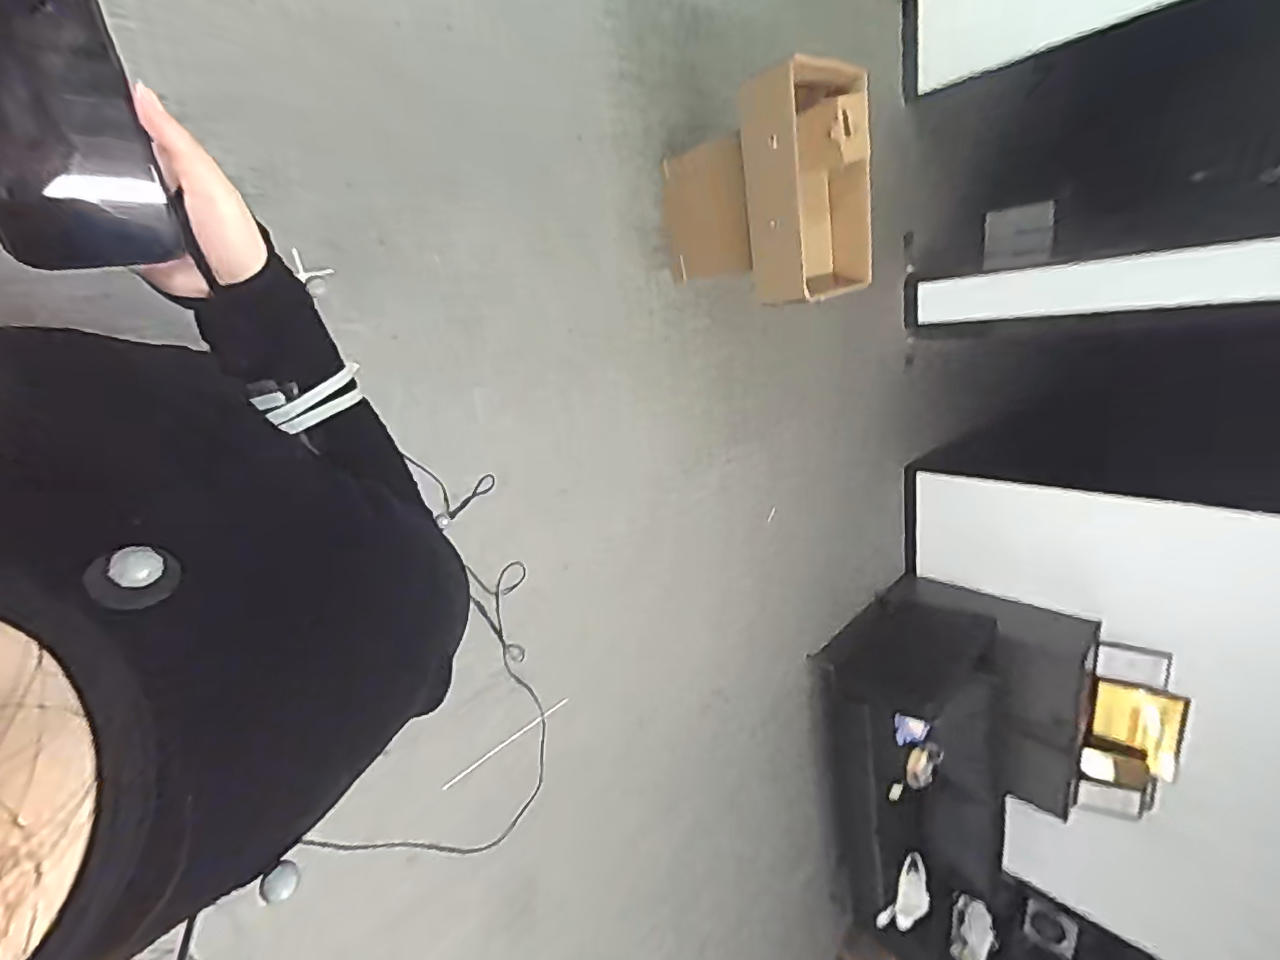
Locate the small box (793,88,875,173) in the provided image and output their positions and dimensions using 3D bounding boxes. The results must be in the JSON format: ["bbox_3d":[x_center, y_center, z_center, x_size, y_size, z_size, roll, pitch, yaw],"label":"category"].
[{"bbox_3d":[0.569,-1.031,1.604,0.179,0.176,0.168,-34,119,-33],"label":"small box"}]
